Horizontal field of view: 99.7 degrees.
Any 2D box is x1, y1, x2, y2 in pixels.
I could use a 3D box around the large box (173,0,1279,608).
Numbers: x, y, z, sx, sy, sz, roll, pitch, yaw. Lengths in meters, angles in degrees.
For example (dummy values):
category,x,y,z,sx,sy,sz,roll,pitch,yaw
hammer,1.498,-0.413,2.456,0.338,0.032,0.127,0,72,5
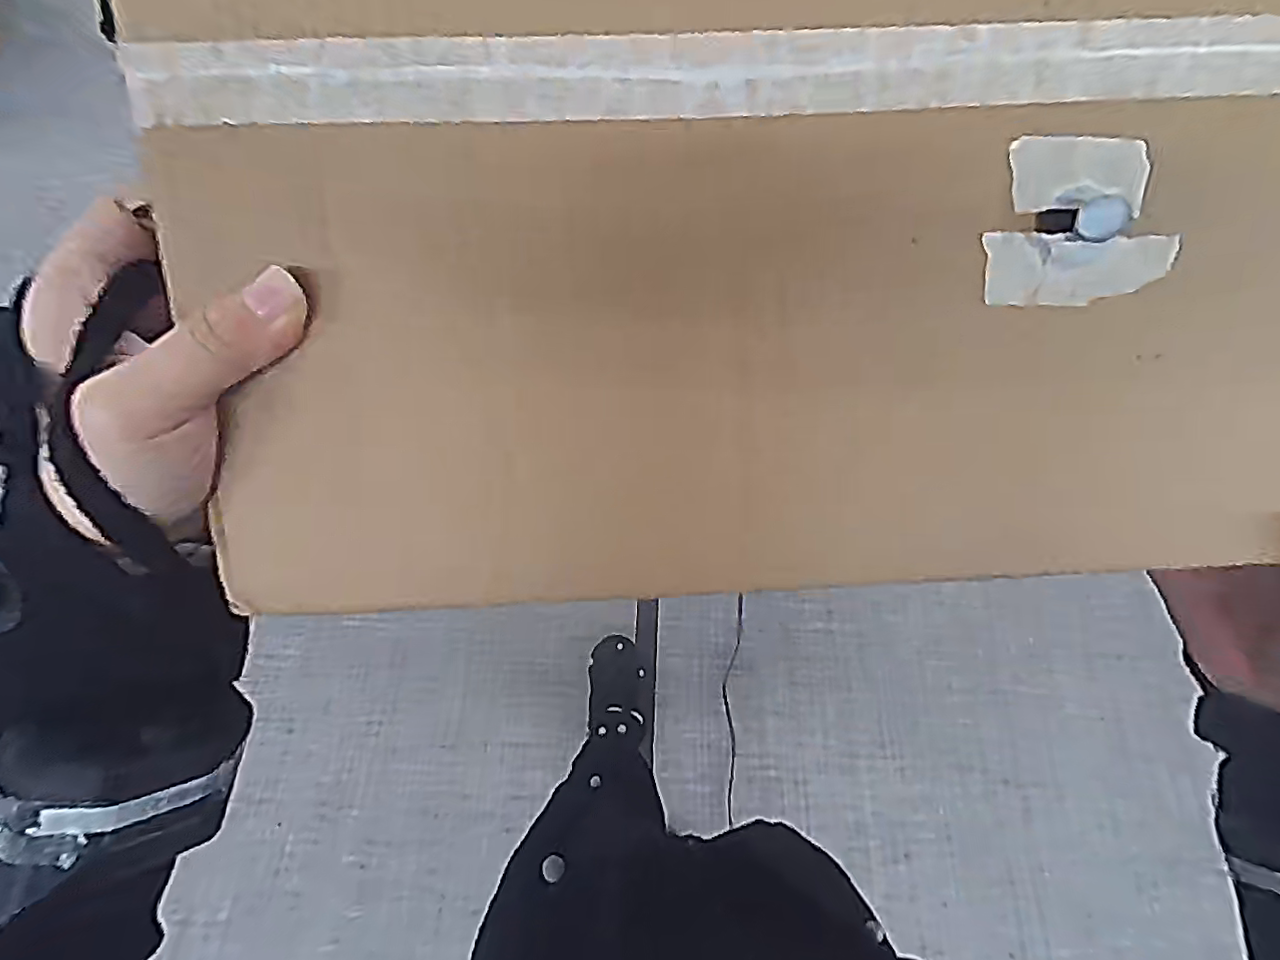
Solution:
category,x,y,z,sx,sy,sz,roll,pitch,yaw
large box,0.052,-0.141,0.320,0.408,0.320,0.320,-3,100,-3
